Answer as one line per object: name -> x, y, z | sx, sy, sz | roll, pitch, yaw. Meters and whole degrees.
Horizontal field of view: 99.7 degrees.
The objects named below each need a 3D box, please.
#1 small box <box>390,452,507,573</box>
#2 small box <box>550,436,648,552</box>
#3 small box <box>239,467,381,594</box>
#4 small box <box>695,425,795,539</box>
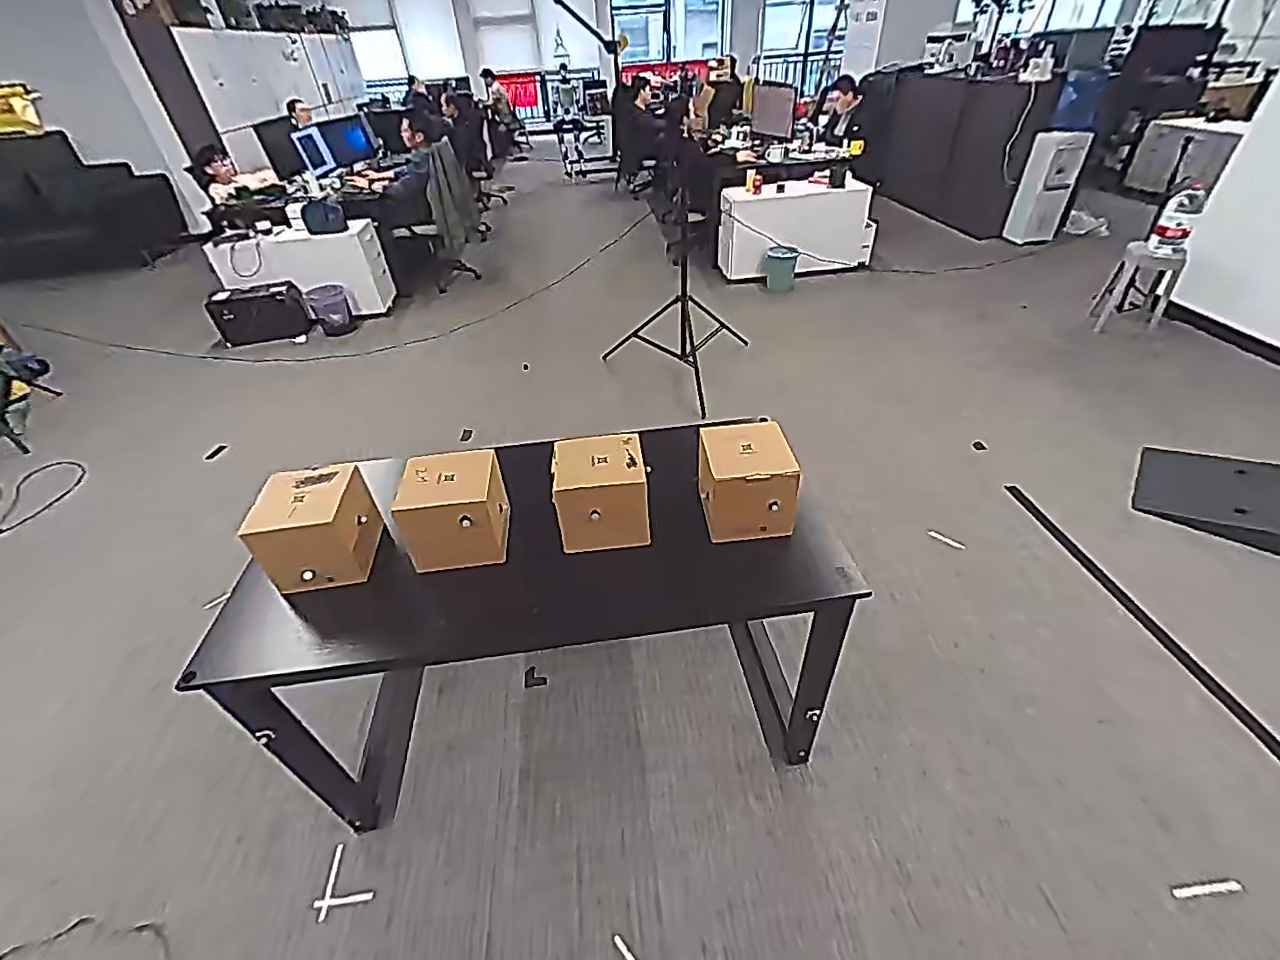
small box -> -0.372, 0.066, 1.090 | 0.179, 0.176, 0.168 | -7, 39, -4
small box -> -0.082, 0.031, 1.110 | 0.179, 0.176, 0.168 | -7, 39, -2
small box -> -0.636, 0.100, 1.073 | 0.168, 0.176, 0.179 | -8, 40, -5
small box -> 0.207, 0.008, 1.113 | 0.168, 0.176, 0.179 | -5, 38, -2
